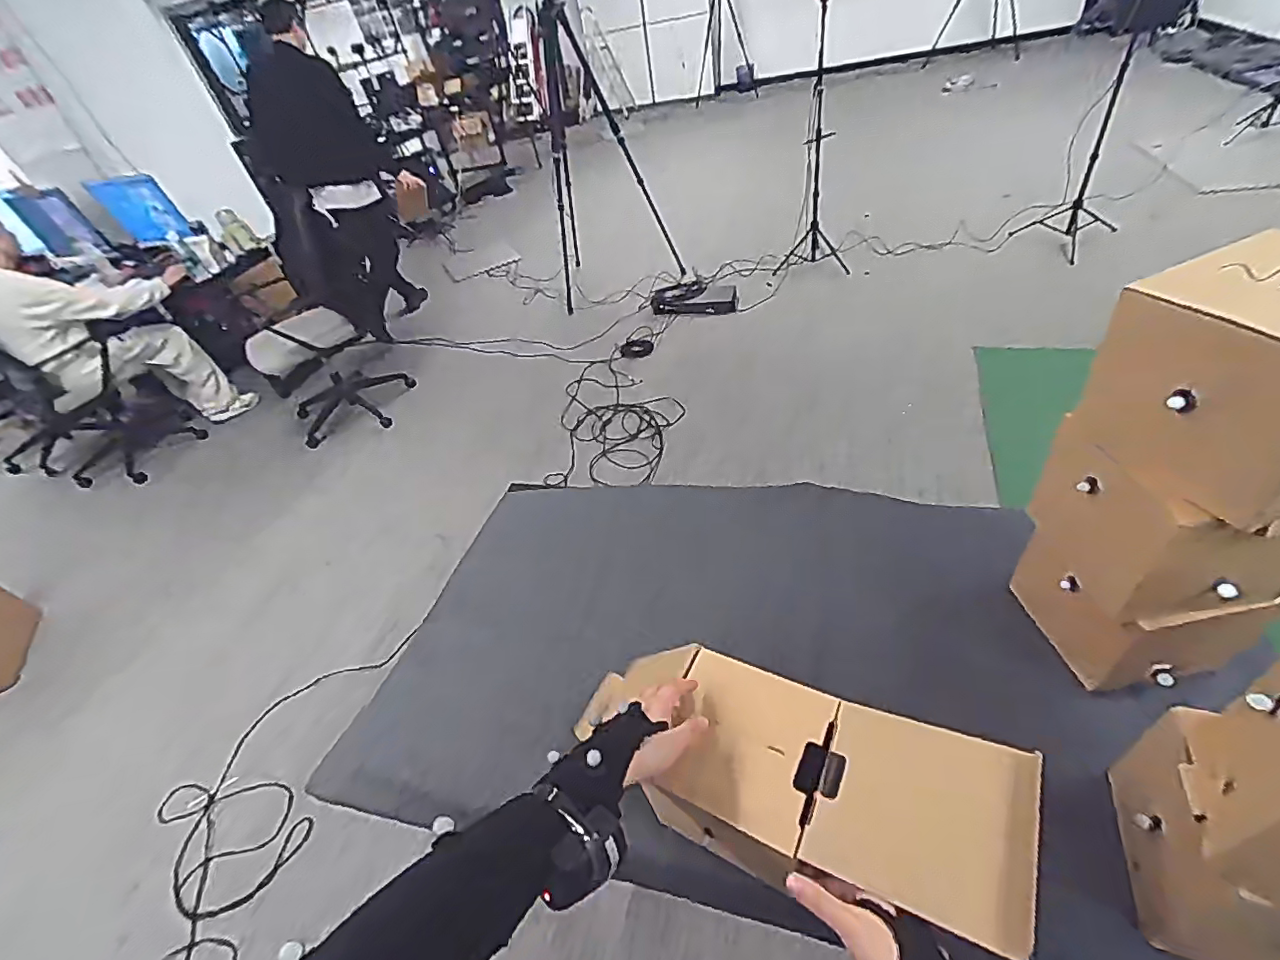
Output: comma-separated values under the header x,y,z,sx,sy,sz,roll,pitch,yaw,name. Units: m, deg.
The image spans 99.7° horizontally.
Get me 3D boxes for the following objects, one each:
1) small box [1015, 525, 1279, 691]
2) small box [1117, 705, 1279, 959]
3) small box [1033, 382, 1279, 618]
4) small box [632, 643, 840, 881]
x,y,z,sx,sy,sz,roll,pitch,yaw,name
0.627,0.140,0.694,0.168,0.176,0.179,-14,44,4,small box
0.576,0.341,0.490,0.179,0.176,0.168,8,43,23,small box
0.574,0.023,0.589,0.168,0.176,0.179,-12,43,8,small box
0.119,0.327,0.628,0.179,0.176,0.168,13,48,29,small box
